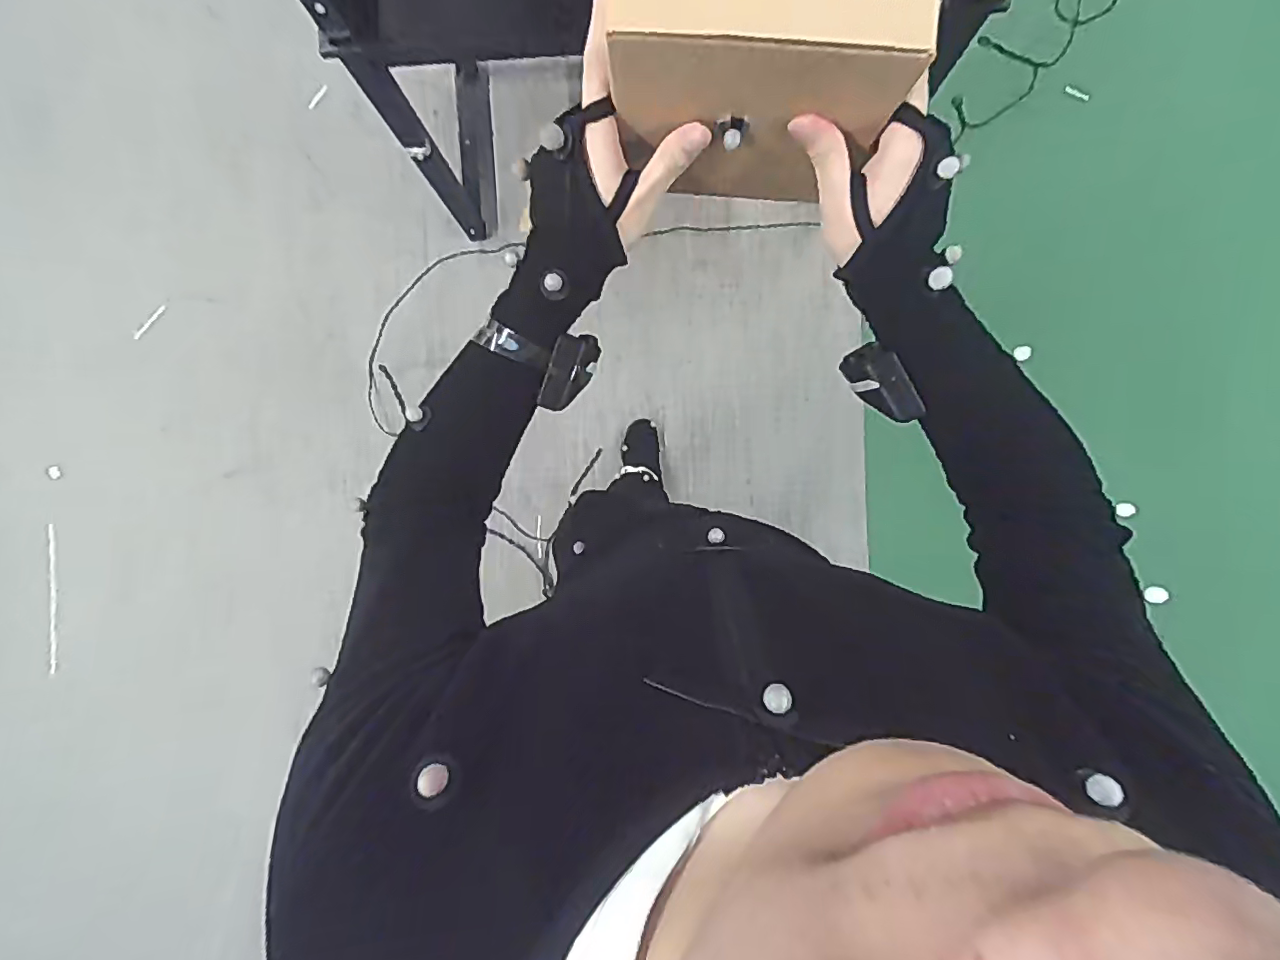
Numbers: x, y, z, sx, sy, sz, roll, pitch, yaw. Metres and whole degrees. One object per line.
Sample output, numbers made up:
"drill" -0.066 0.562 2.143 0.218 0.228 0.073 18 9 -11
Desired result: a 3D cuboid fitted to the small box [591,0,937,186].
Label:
"small box" 0.071 -0.314 0.349 0.179 0.176 0.168 5 92 2
